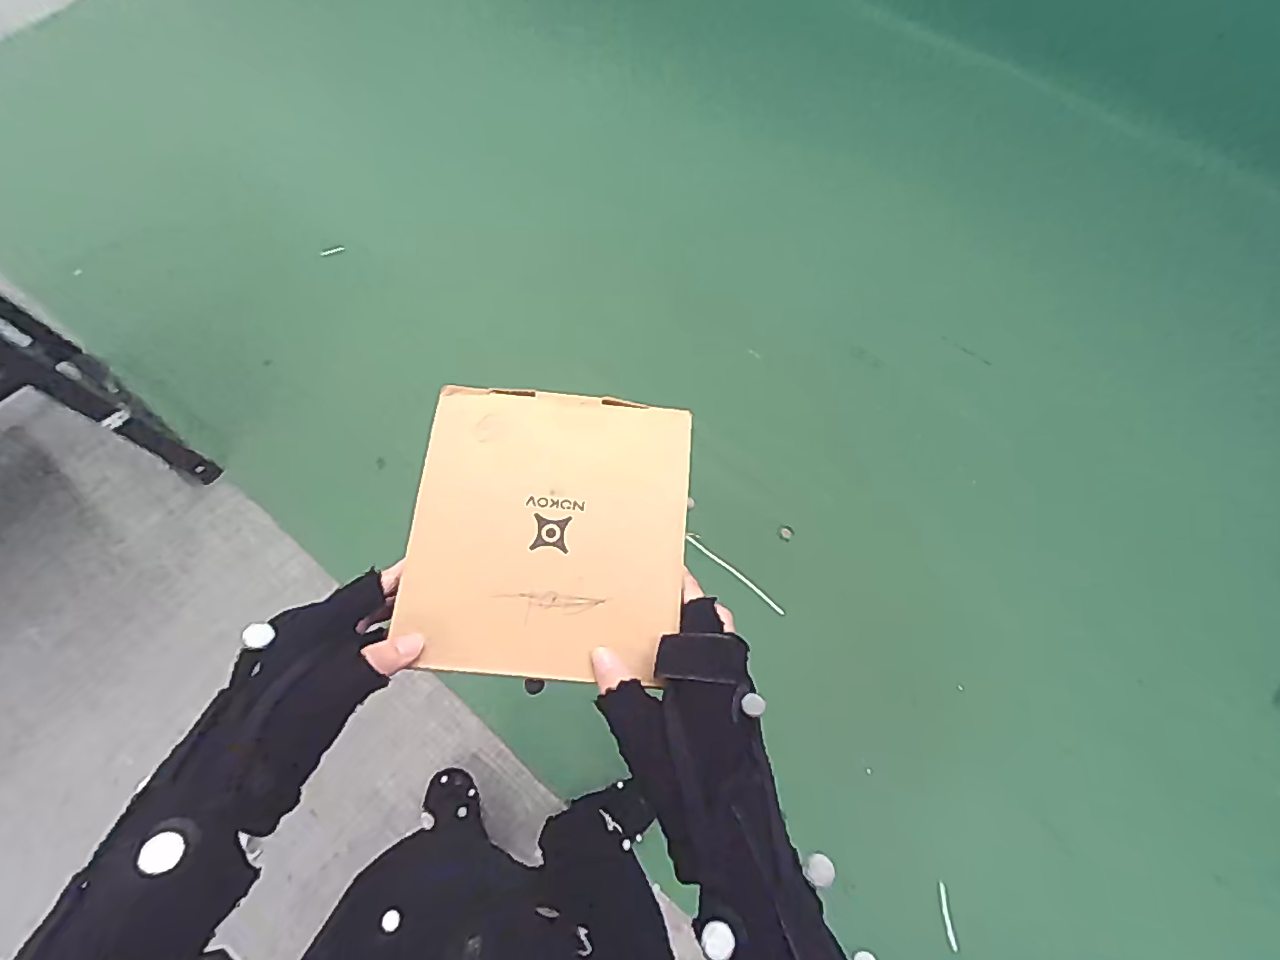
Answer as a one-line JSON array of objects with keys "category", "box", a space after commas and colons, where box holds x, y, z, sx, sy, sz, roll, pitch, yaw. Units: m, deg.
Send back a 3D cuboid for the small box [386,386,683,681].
[{"category": "small box", "box": [-0.064, 0.050, 0.410, 0.168, 0.176, 0.179, 4, 74, -2]}]
